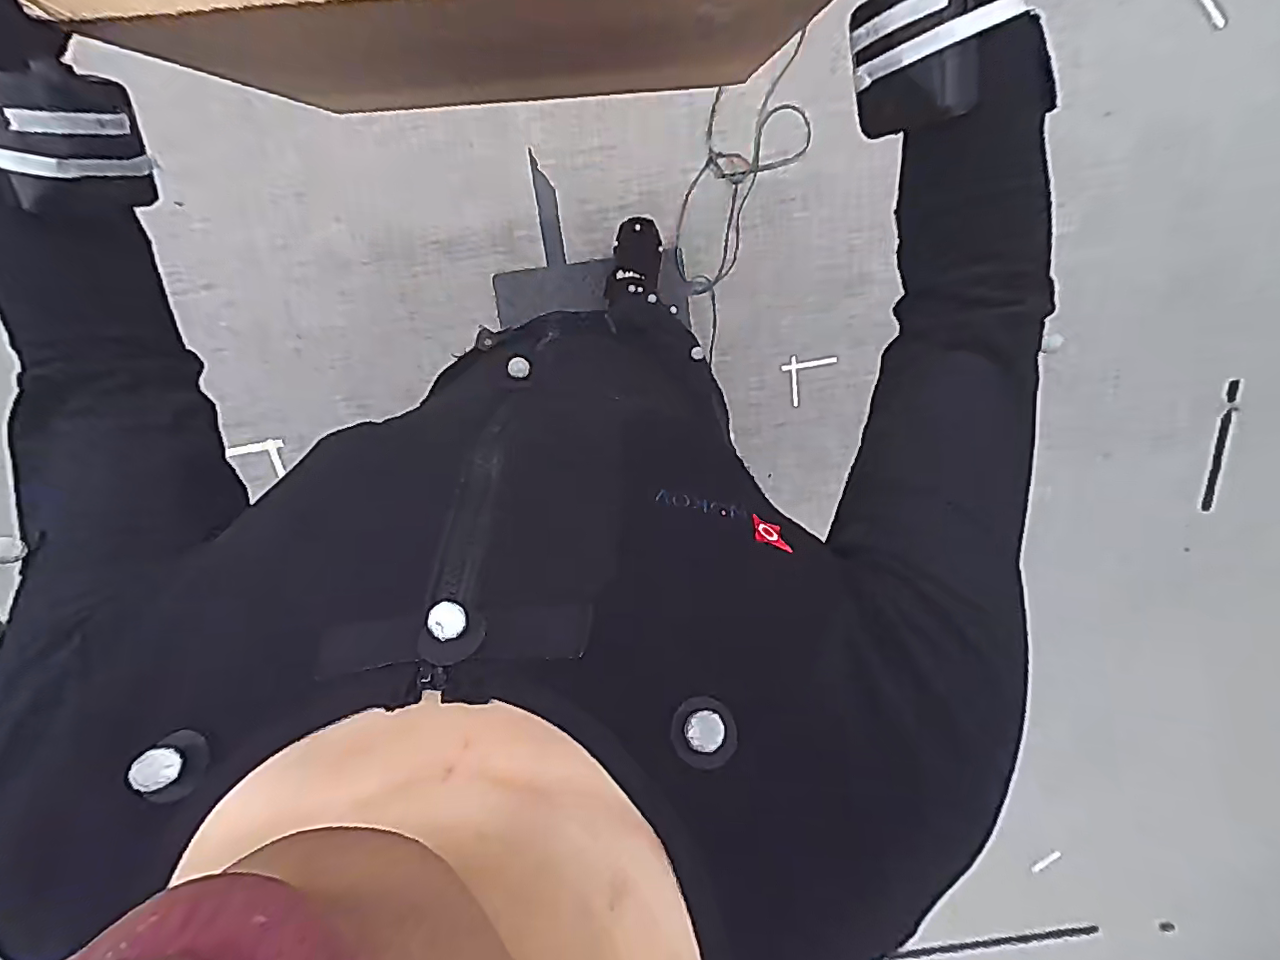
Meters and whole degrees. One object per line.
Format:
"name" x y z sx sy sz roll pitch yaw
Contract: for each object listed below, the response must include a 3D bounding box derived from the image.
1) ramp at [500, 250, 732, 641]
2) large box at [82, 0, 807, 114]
"ramp" -0.056 -0.070 1.456 0.509 0.206 0.991 -10 107 3
"large box" -0.099 -0.450 0.333 0.408 0.320 0.320 -5 117 -1
